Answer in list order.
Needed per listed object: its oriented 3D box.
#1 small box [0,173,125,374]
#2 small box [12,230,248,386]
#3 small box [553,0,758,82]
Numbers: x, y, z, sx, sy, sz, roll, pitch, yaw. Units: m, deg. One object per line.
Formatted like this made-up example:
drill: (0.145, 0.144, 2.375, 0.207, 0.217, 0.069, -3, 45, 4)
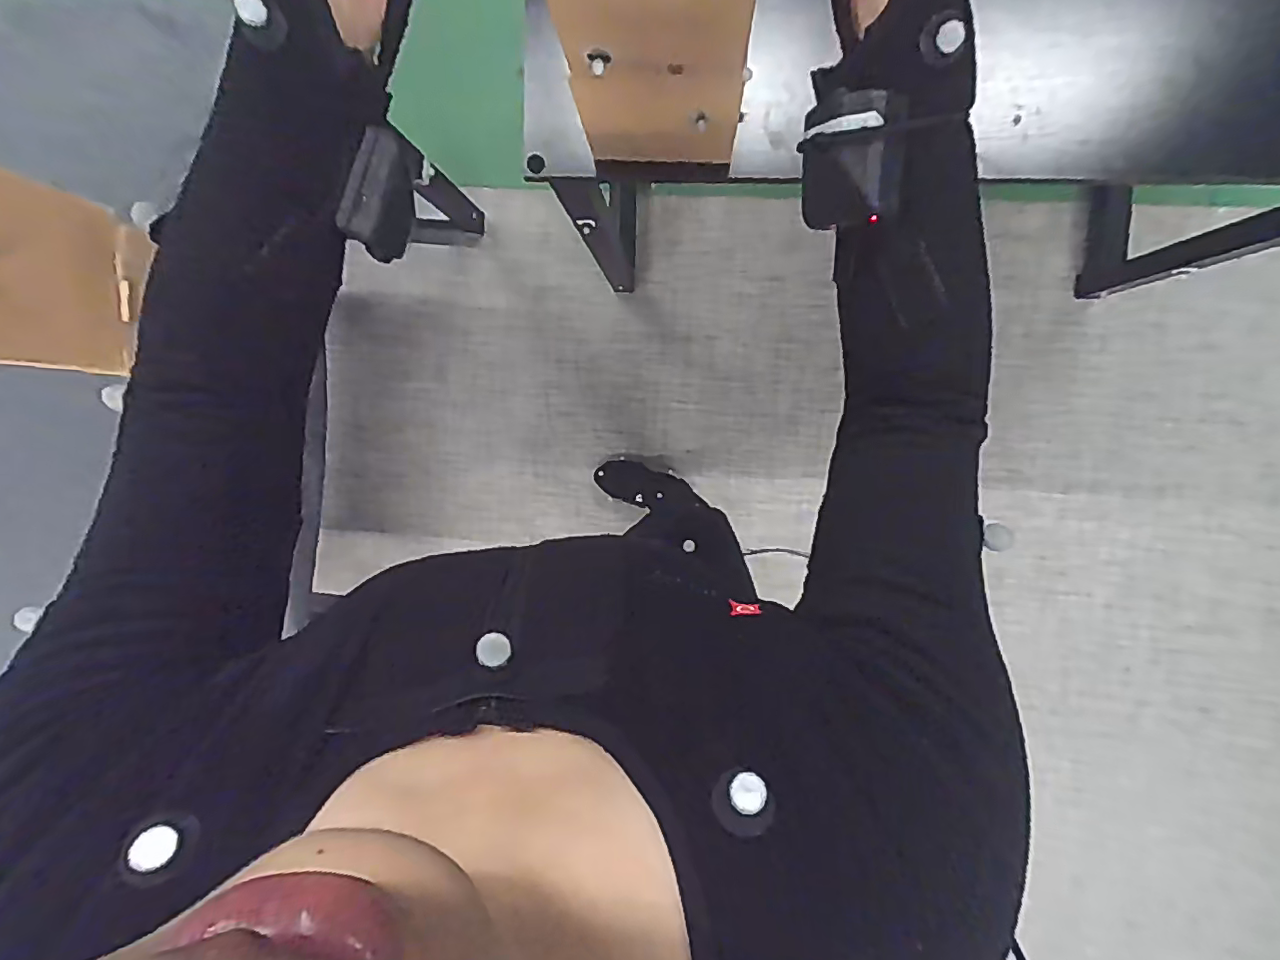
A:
small box: (-0.648, -0.200, 0.514, 0.168, 0.176, 0.179, 5, 98, 6)
small box: (-0.630, -0.209, 0.676, 0.179, 0.176, 0.168, 7, 98, 5)
small box: (0.019, -0.453, 0.422, 0.168, 0.176, 0.179, 6, 97, 3)
